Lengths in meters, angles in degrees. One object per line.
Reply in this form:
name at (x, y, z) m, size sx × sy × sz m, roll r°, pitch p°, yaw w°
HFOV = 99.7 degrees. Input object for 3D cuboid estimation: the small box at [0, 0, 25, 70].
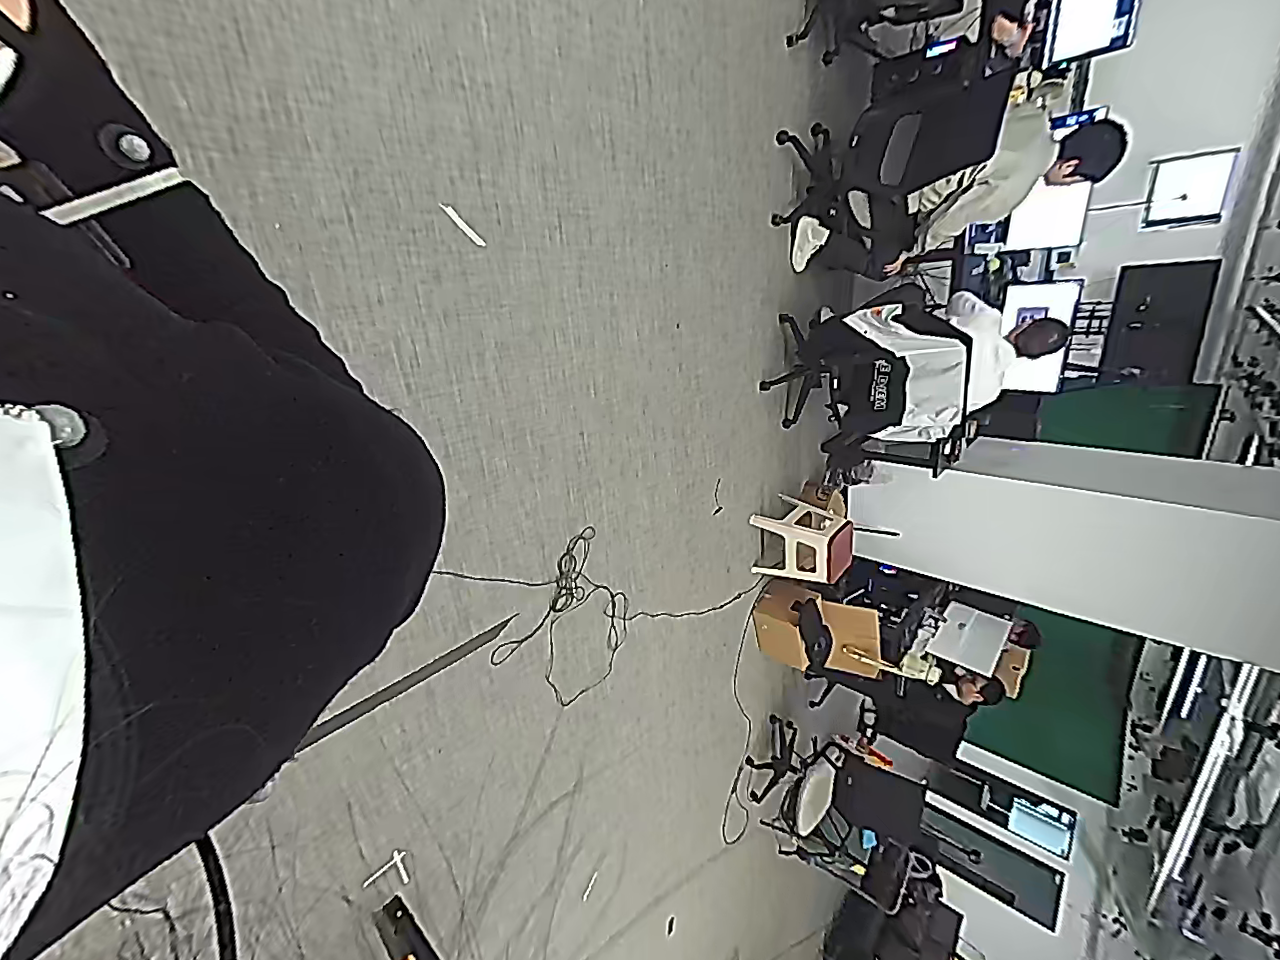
small box at (-0.630, -0.454, 0.412) m, size 0.168 × 0.176 × 0.179 m, roll -26°, pitch 120°, yaw -45°
